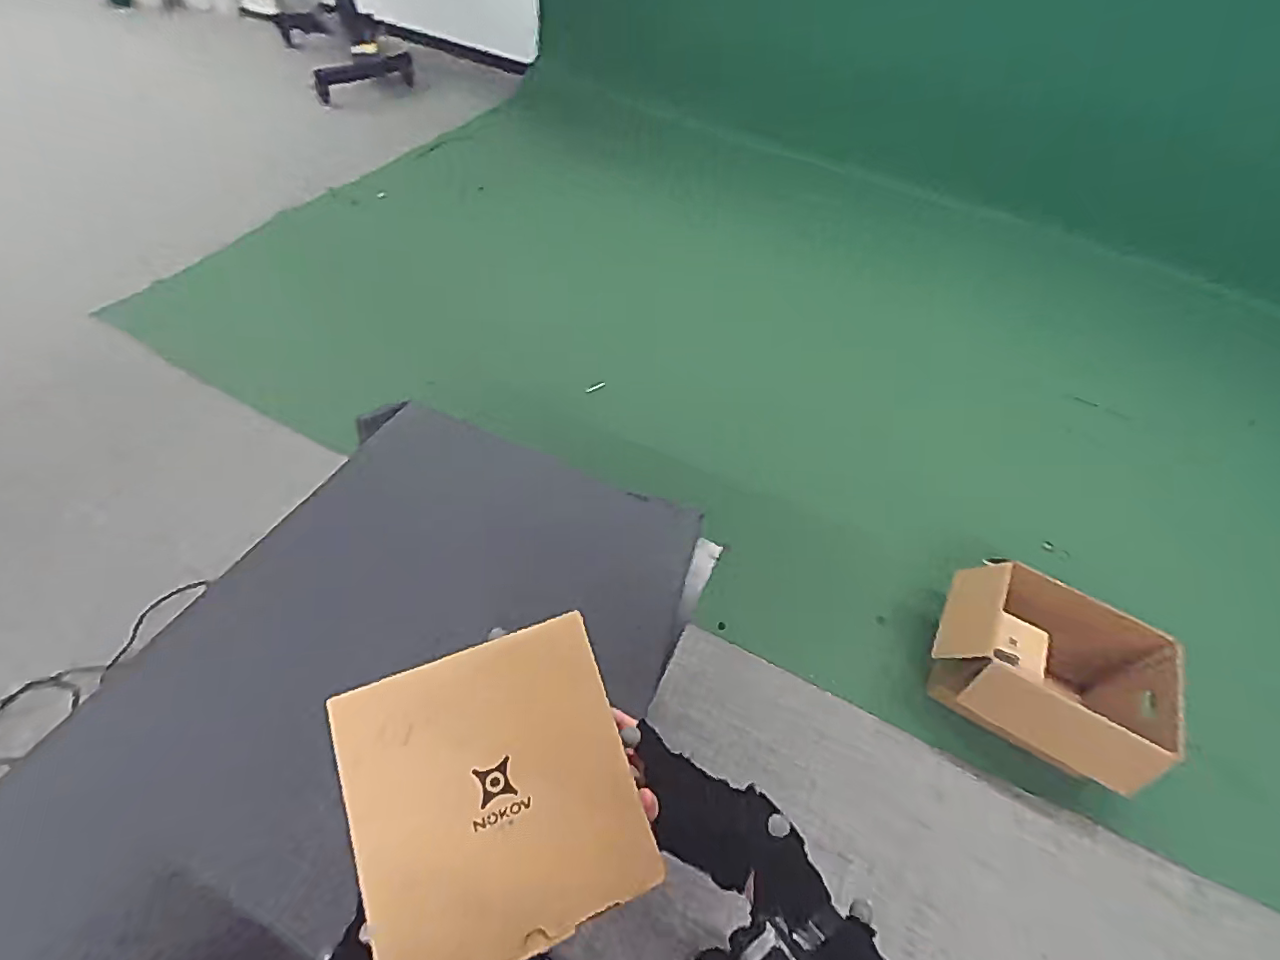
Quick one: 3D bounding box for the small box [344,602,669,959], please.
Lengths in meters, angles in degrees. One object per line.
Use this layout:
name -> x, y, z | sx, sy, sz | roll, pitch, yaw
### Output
small box -> -0.099, 0.210, 0.409 | 0.168, 0.176, 0.179 | -15, 75, -17
